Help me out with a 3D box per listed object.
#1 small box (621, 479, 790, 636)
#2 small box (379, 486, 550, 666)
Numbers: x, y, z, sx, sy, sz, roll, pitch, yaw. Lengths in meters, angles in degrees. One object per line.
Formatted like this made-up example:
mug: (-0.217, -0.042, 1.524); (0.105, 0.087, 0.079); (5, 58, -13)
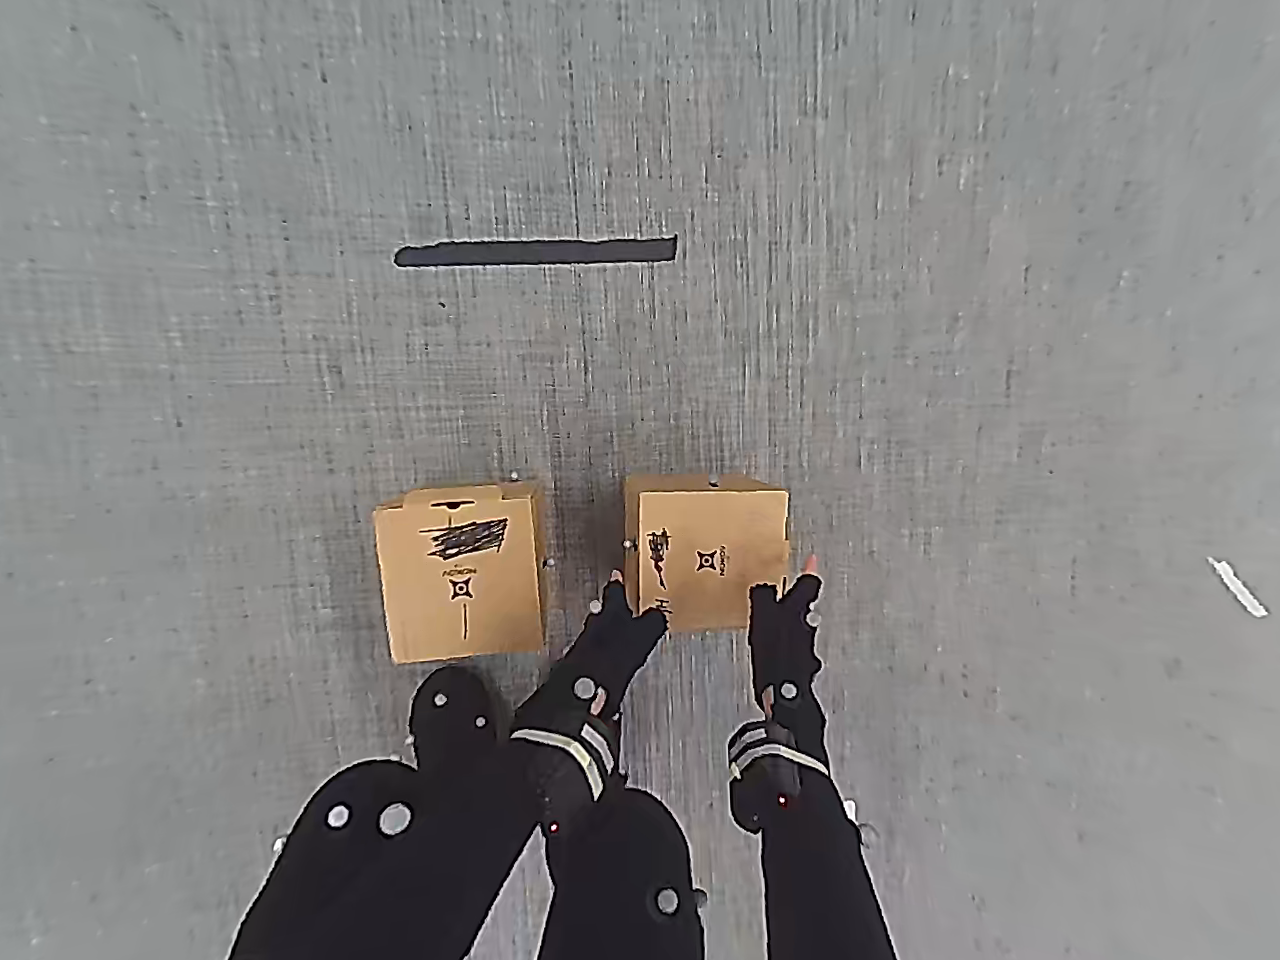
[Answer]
small box: (0.074, 0.088, 0.697); (0.179, 0.176, 0.168); (0, 97, -8)
small box: (-0.200, 0.102, 0.662); (0.168, 0.176, 0.179); (-4, 97, -6)
